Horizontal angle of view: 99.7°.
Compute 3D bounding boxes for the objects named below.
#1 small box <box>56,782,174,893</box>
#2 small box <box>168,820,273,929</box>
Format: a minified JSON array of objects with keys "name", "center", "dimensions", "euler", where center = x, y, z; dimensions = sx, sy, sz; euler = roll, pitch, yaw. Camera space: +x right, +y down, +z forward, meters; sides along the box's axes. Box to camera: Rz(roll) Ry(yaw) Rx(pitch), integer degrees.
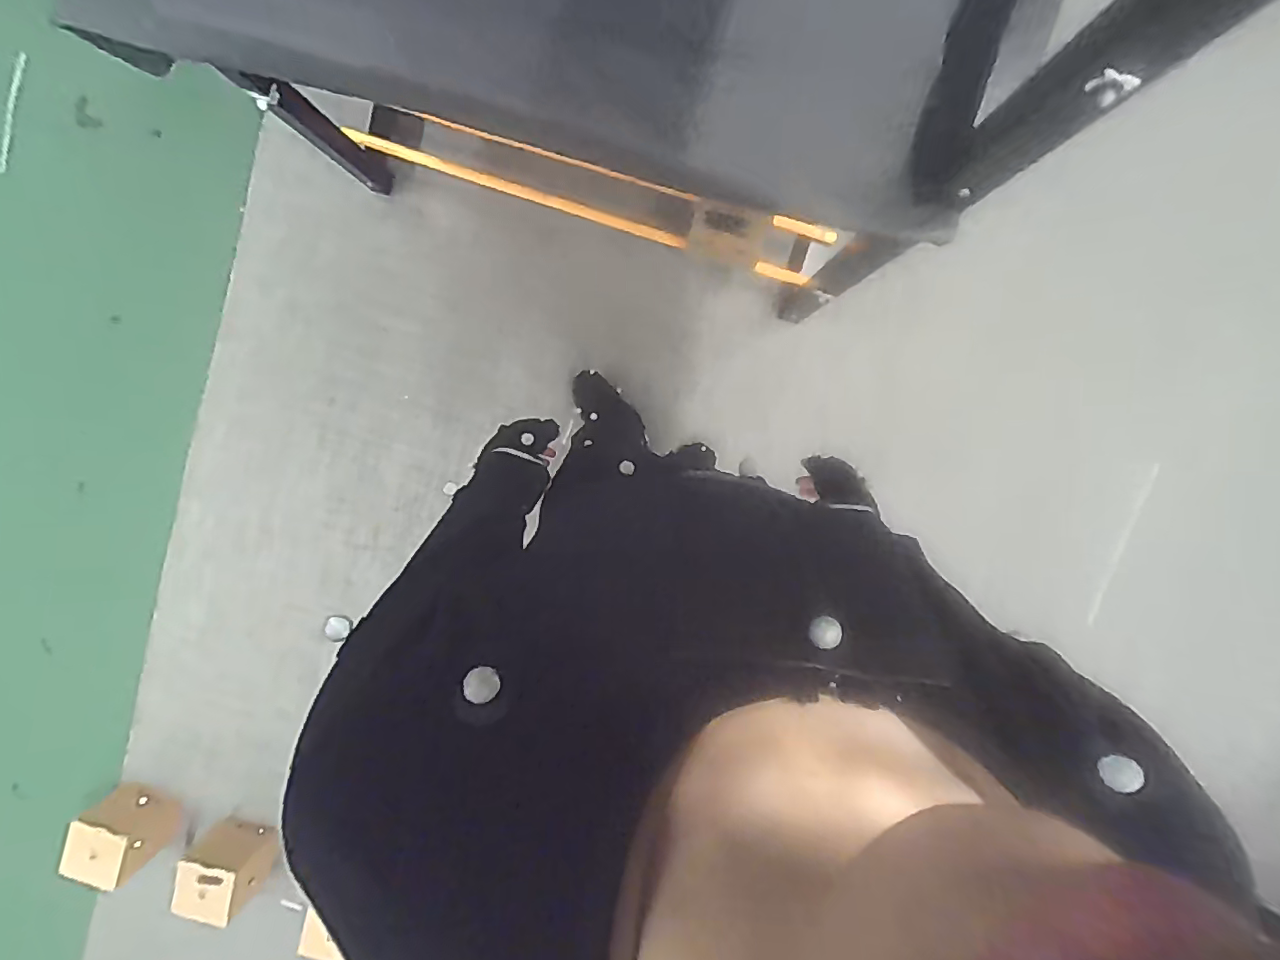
[{"name":"small box","center":[-1.509,1.026,1.563],"dimensions":[0.168,0.176,0.179],"euler":[19,96,-1]},{"name":"small box","center":[-1.202,1.128,1.562],"dimensions":[0.168,0.176,0.179],"euler":[14,97,1]}]
